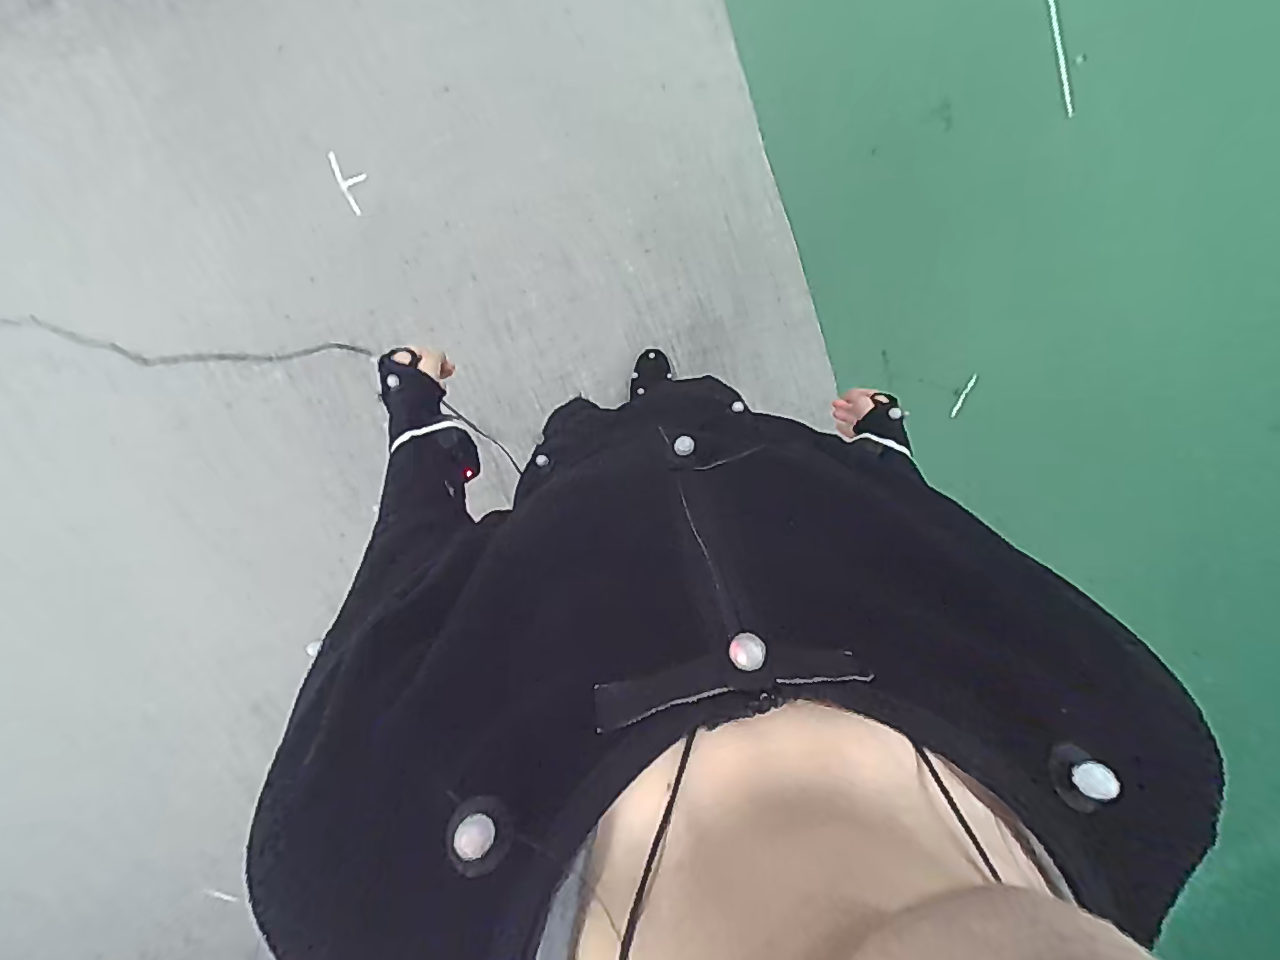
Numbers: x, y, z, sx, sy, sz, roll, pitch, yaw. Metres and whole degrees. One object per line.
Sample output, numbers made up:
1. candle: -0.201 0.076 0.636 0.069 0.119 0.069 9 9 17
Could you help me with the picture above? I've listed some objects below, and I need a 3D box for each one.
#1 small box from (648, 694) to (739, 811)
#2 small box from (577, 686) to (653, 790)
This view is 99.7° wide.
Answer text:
1. small box: 0.126 0.677 1.359 0.179 0.176 0.168 -23 102 1
2. small box: -0.071 0.721 1.523 0.168 0.176 0.179 -19 102 -1
